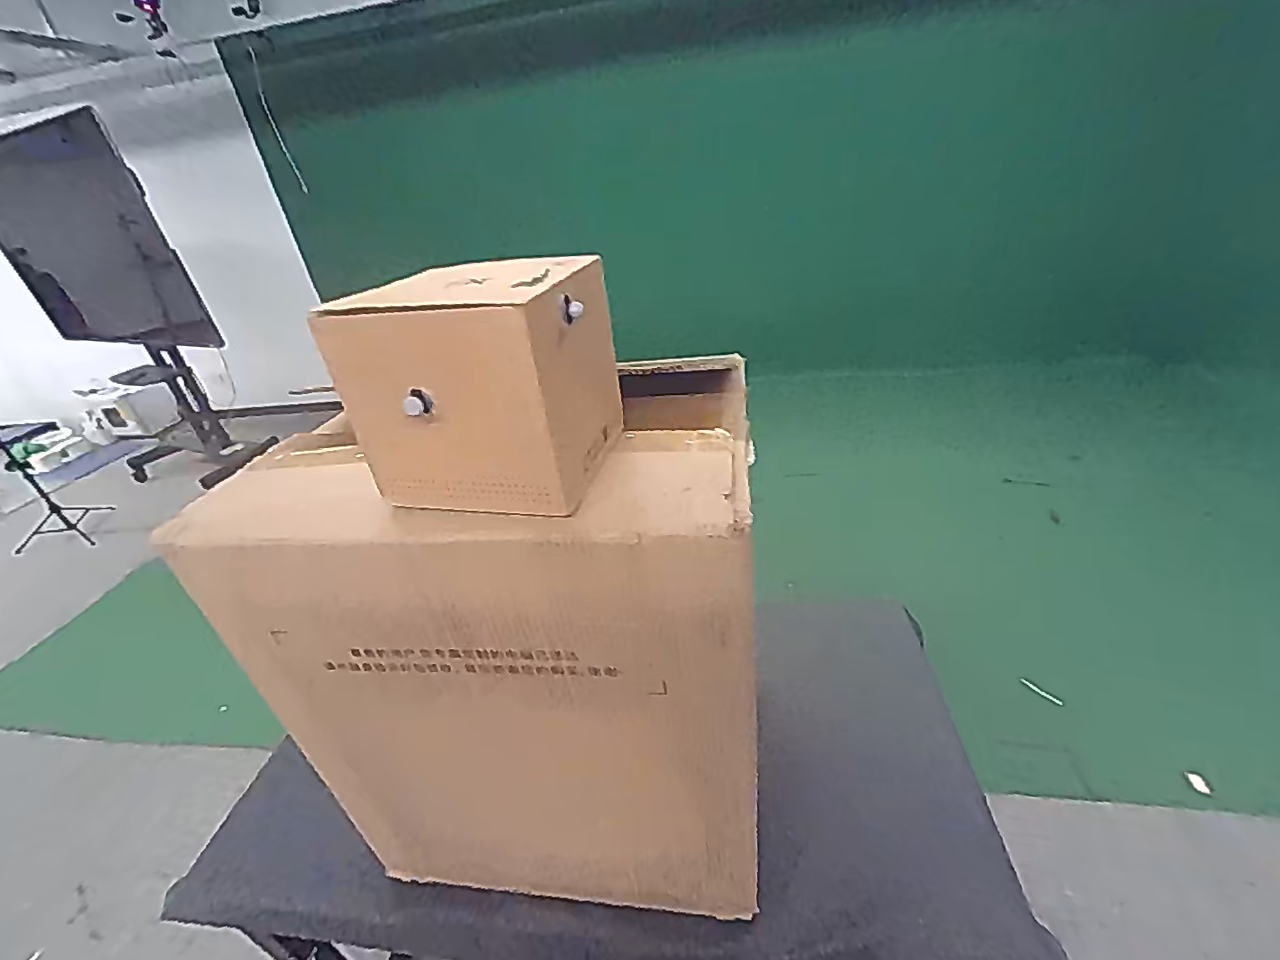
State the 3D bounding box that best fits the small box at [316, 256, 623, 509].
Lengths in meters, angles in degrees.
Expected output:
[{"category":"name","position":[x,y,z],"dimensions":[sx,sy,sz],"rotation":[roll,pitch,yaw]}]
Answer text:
[{"category":"small box","position":[-0.126,-0.088,0.475],"dimensions":[0.179,0.176,0.168],"rotation":[2,32,16]}]
